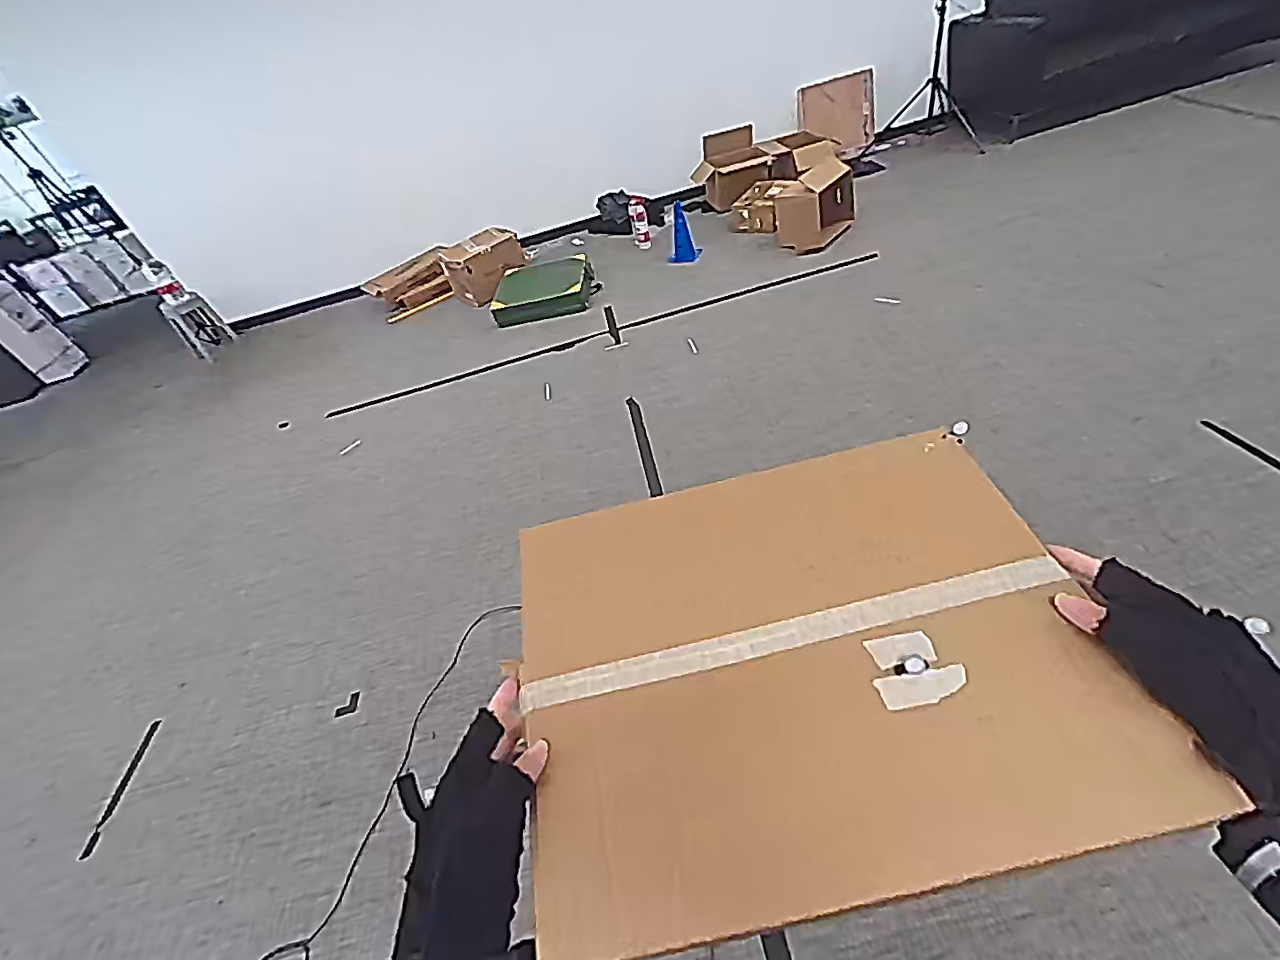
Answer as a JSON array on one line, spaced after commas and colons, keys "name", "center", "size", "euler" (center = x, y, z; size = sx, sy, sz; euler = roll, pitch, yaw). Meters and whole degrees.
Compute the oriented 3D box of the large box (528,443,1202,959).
[{"name": "large box", "center": [0.135, 0.218, 0.524], "size": [0.408, 0.320, 0.320], "euler": [-14, 50, 0]}]
